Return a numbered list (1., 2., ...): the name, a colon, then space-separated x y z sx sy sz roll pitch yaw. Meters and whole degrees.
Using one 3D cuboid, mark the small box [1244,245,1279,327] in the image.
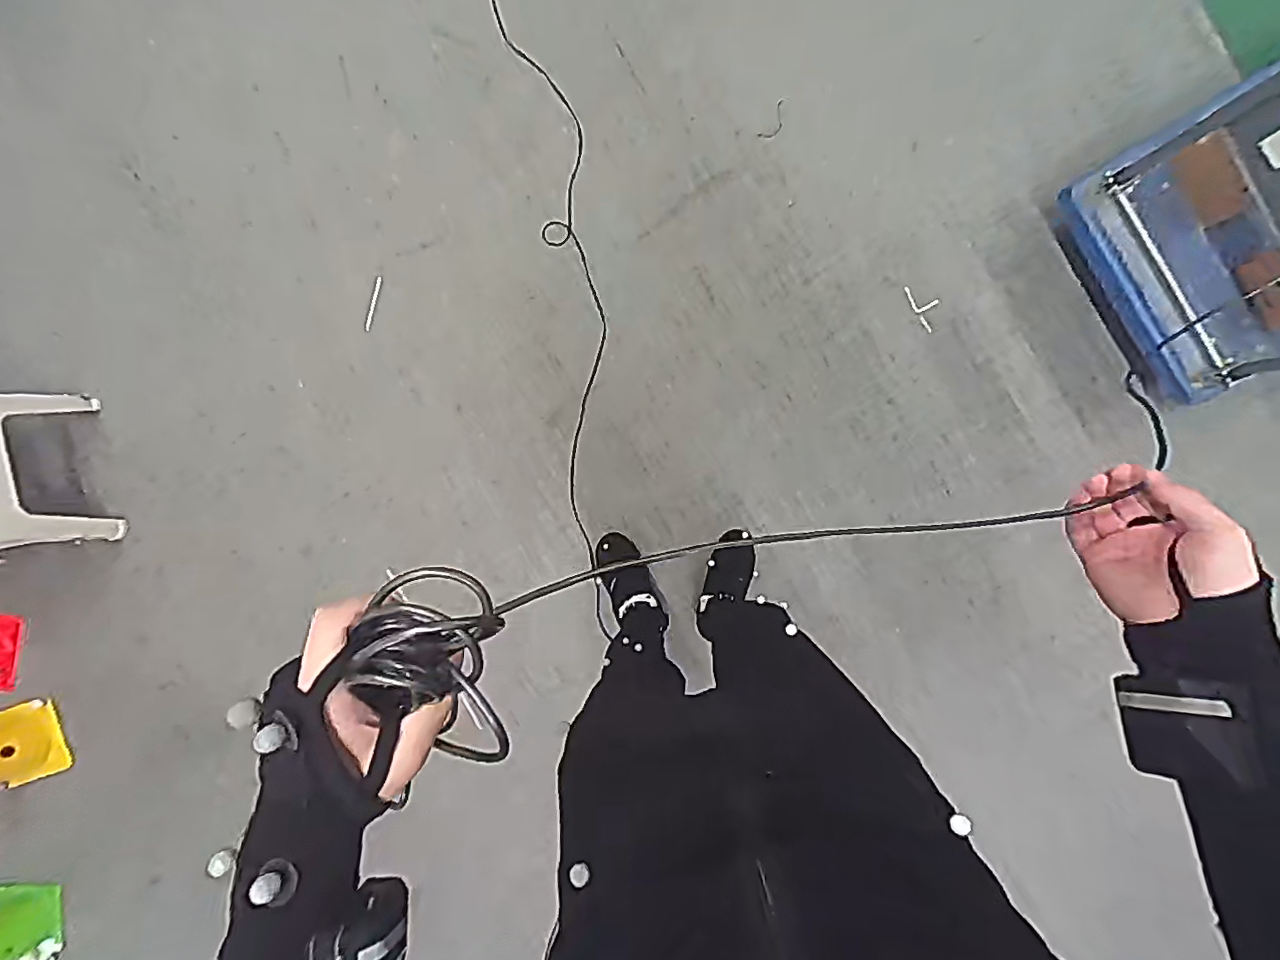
1. small box: 1.433 -0.440 1.107 0.179 0.176 0.168 -29 91 3
